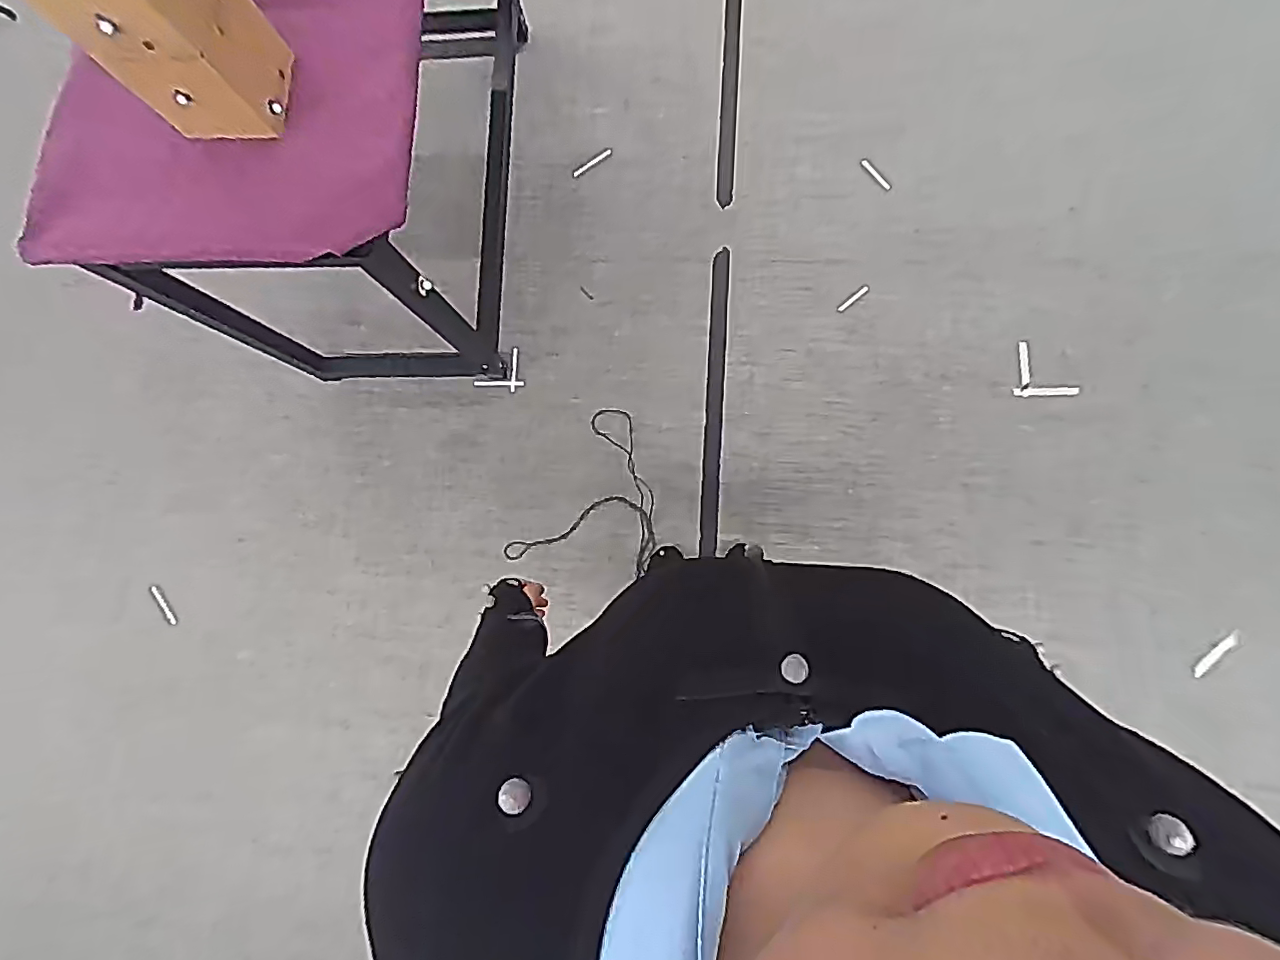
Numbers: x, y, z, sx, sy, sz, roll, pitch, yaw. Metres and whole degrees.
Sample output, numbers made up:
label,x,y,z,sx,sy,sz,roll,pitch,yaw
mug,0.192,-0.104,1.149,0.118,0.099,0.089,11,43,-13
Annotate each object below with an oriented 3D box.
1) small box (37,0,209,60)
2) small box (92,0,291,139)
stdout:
label,x,y,z,sx,sy,sz,roll,pitch,yaw
small box,-0.705,-0.699,0.705,0.168,0.176,0.179,1,83,4
small box,-0.703,-0.682,0.869,0.179,0.176,0.168,2,83,4
